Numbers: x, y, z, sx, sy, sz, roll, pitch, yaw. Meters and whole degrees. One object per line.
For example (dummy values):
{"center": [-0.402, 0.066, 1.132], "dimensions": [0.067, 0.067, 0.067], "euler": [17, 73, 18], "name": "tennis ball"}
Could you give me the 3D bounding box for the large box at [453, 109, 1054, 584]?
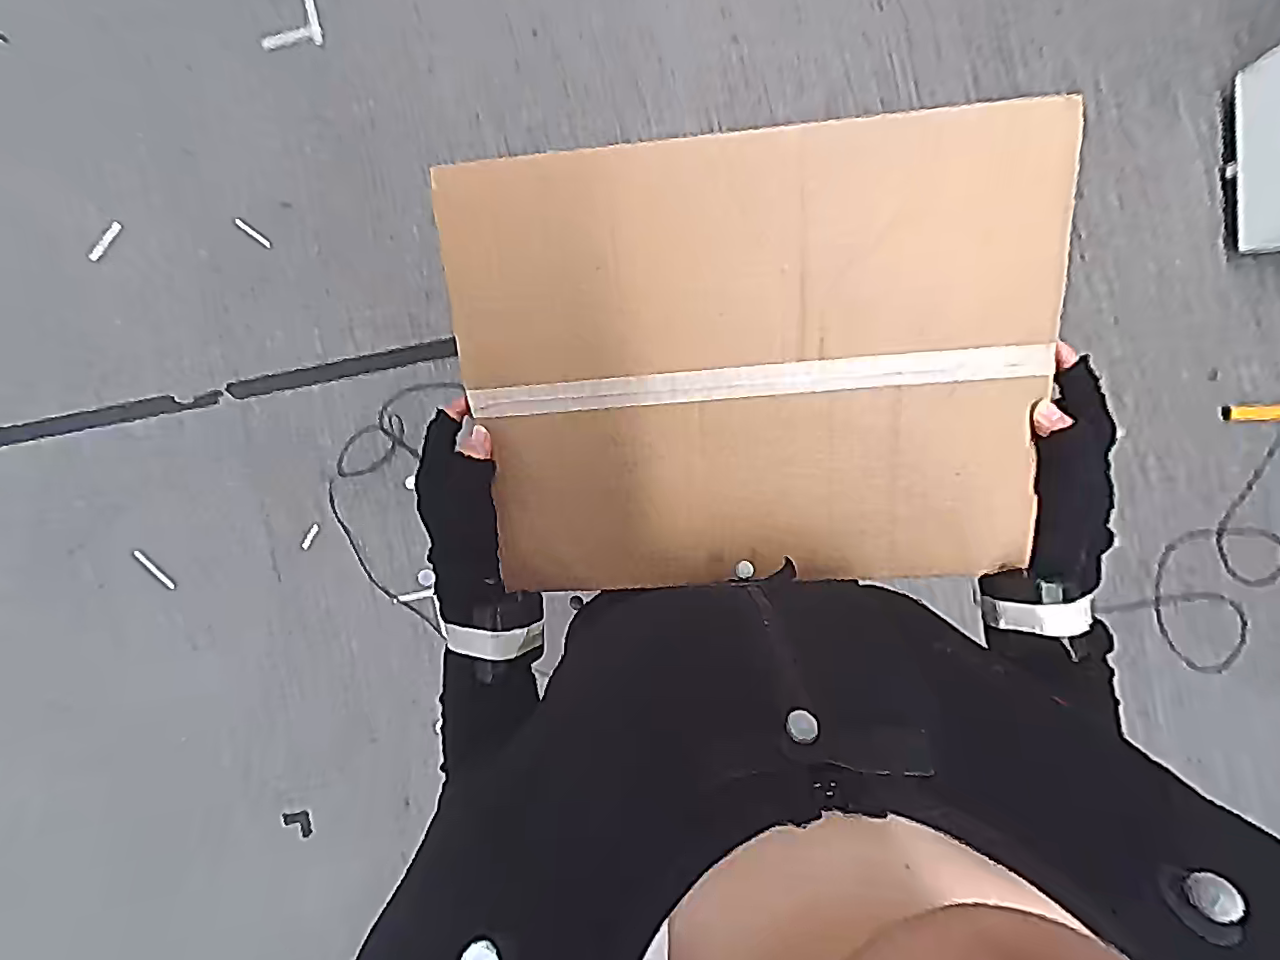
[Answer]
{"center": [0.087, -0.113, 0.540], "dimensions": [0.408, 0.320, 0.320], "euler": [-4, 107, 5], "name": "large box"}
